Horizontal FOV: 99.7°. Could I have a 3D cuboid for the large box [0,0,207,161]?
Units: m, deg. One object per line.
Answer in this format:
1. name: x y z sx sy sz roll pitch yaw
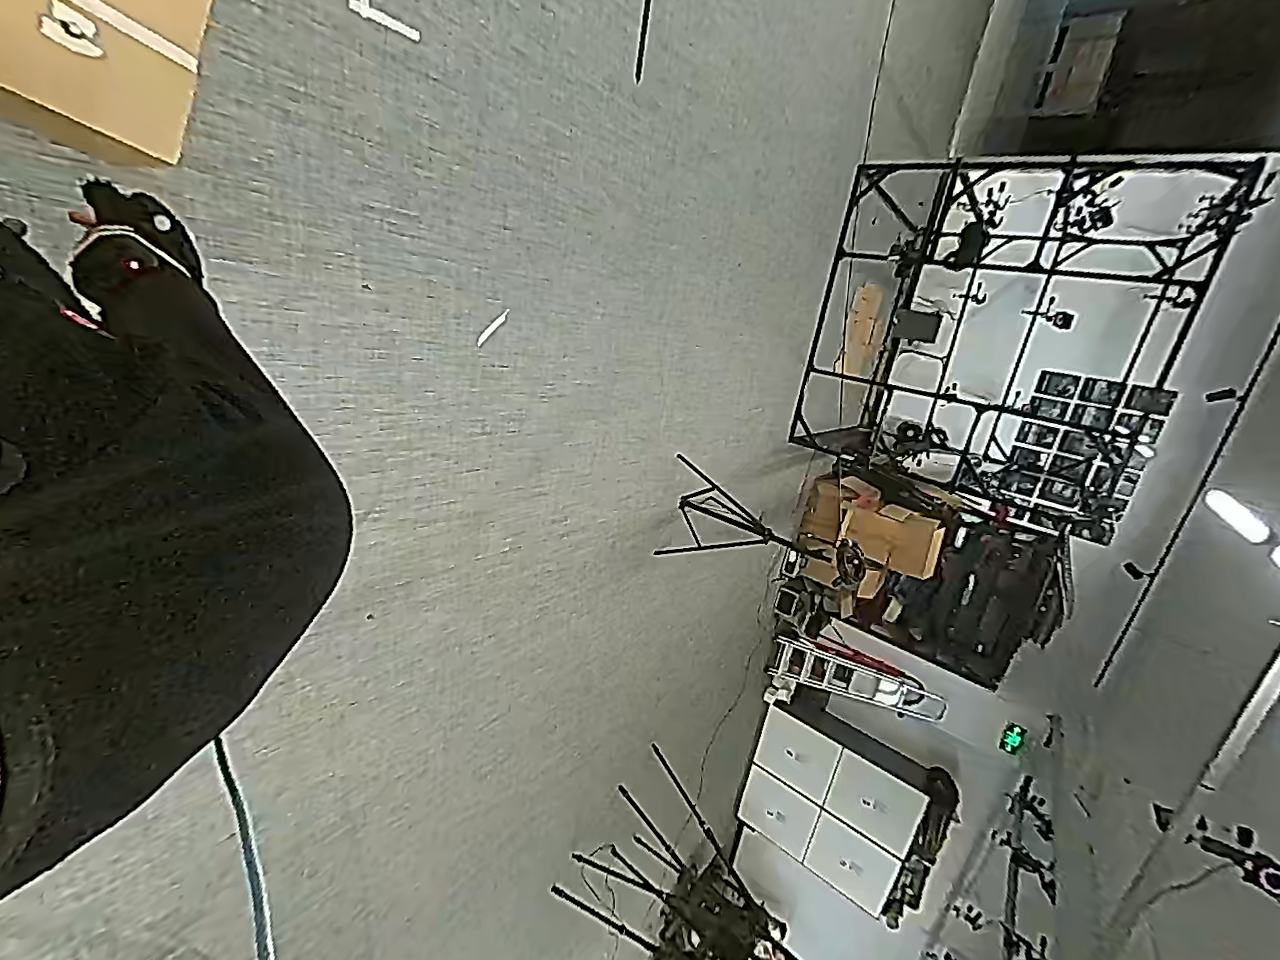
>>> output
1. large box: -0.937 -0.720 0.772 0.408 0.320 0.320 9 100 -58
